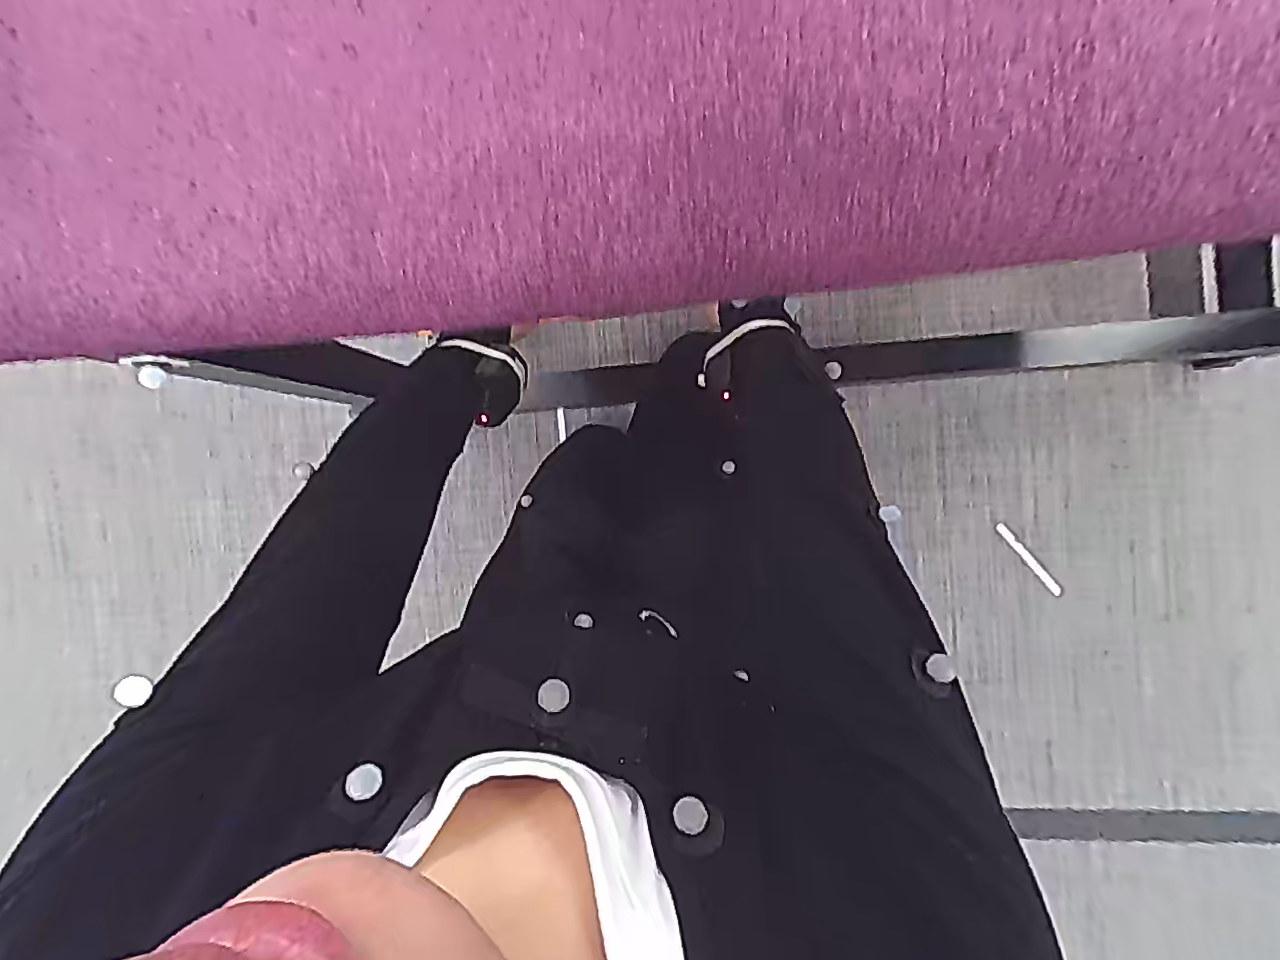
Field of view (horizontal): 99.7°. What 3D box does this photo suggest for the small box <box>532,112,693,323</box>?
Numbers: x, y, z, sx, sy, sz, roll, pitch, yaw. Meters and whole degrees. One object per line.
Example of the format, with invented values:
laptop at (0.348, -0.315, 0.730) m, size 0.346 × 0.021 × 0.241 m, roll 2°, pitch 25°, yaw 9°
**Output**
small box at (-0.026, -0.313, 0.682) m, size 0.168 × 0.176 × 0.179 m, roll -7°, pitch 93°, yaw 6°
